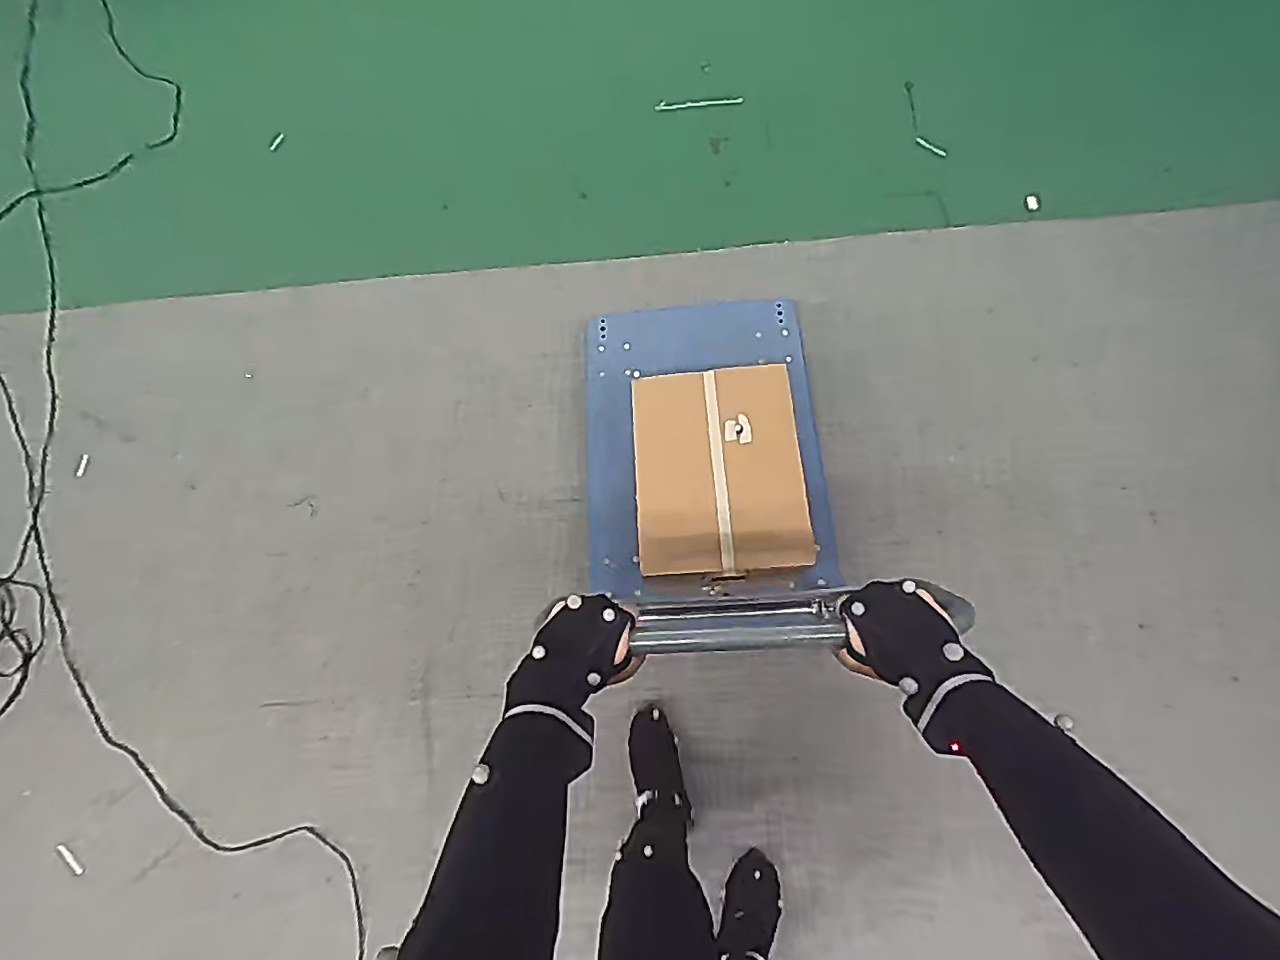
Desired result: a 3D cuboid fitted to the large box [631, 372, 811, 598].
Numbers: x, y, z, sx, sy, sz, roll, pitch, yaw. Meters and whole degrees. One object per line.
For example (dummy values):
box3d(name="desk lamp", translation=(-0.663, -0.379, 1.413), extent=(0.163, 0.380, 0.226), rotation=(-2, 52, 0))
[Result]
box3d(name="large box", translation=(0.162, 0.030, 1.180), extent=(0.320, 0.320, 0.408), rotation=(-4, 71, 5))
